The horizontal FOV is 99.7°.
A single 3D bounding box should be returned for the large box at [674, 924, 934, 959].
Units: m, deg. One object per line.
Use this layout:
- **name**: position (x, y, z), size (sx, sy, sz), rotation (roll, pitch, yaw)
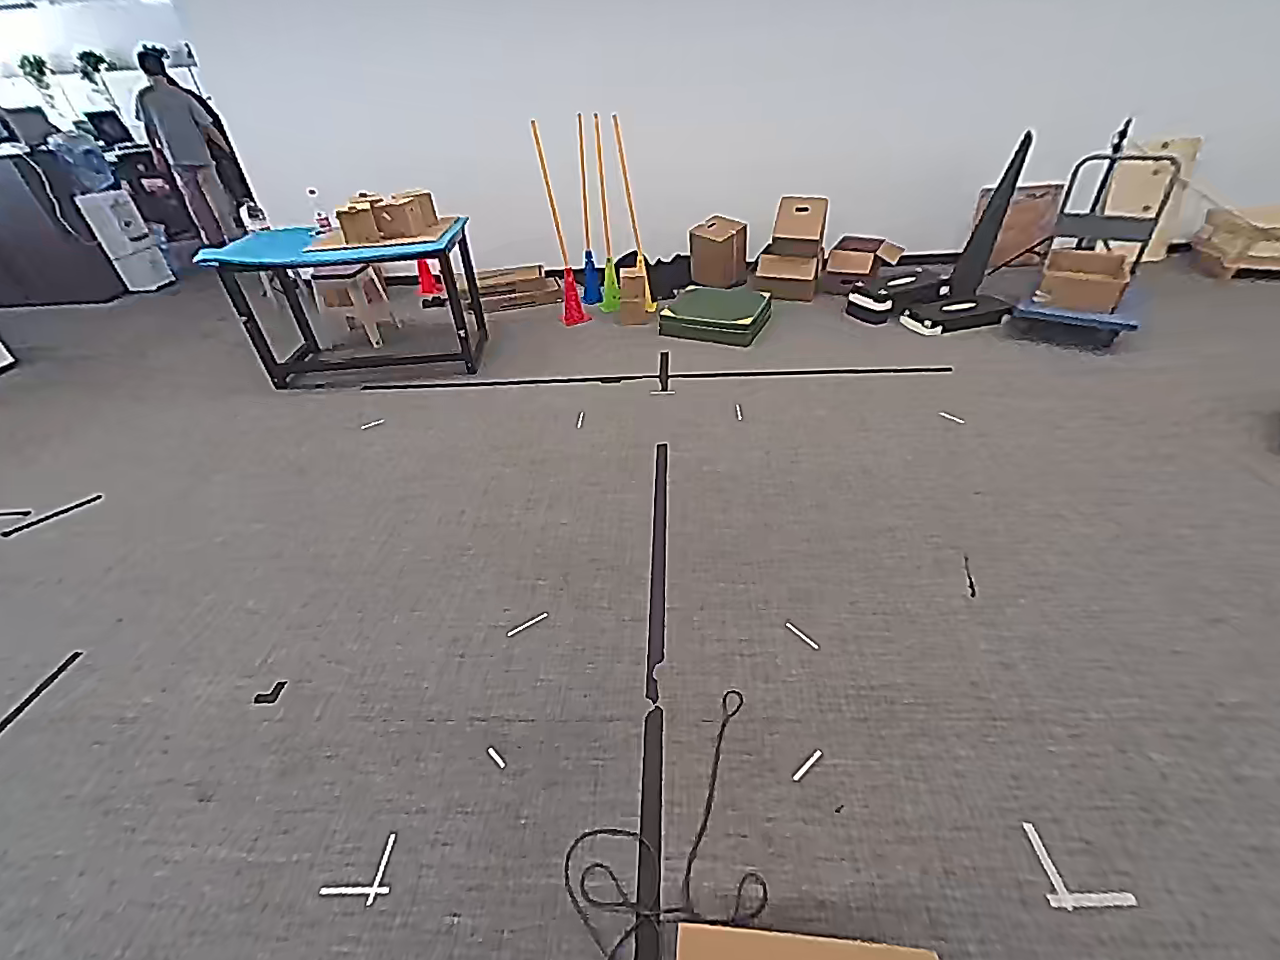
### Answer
- **large box**: position (0.250, 0.941, 0.831), size (0.408, 0.320, 0.320), rotation (1, 38, 6)
